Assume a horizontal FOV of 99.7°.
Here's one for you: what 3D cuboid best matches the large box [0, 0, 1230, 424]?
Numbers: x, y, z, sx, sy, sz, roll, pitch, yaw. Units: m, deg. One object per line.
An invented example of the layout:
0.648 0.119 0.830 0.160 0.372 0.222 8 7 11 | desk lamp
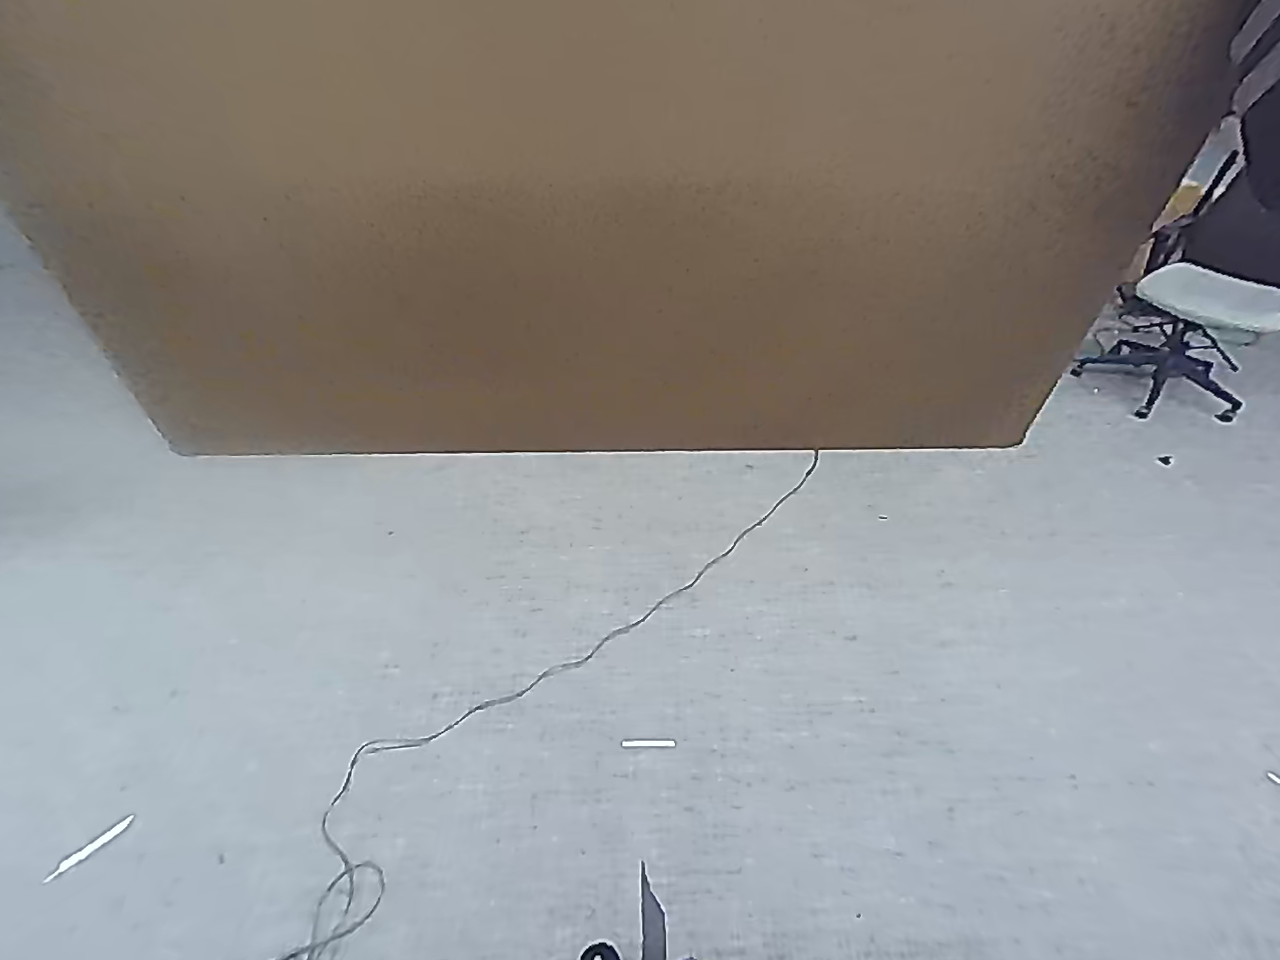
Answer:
-0.017 -0.237 0.280 0.408 0.320 0.320 0 42 -3 | large box
